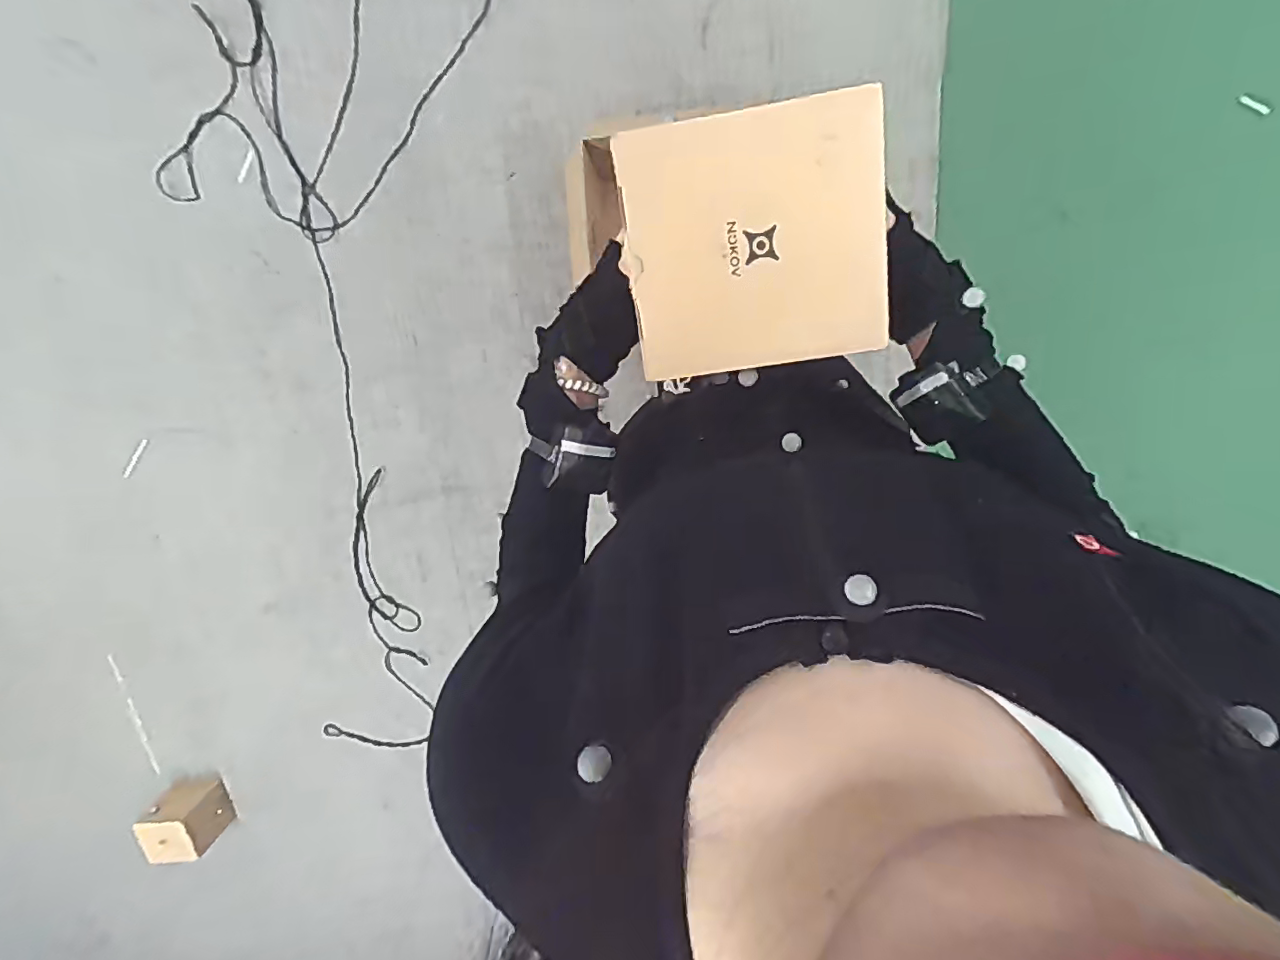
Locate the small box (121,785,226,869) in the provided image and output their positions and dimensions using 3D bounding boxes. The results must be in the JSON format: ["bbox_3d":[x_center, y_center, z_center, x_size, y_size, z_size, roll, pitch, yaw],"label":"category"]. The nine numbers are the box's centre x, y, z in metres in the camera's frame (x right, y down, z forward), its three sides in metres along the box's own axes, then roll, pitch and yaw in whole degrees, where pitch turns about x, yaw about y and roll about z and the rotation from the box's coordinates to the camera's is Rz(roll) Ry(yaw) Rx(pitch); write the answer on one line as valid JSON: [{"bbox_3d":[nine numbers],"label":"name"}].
[{"bbox_3d":[-1.526,1.136,1.779,0.179,0.176,0.168,-6,106,3],"label":"small box"}]
